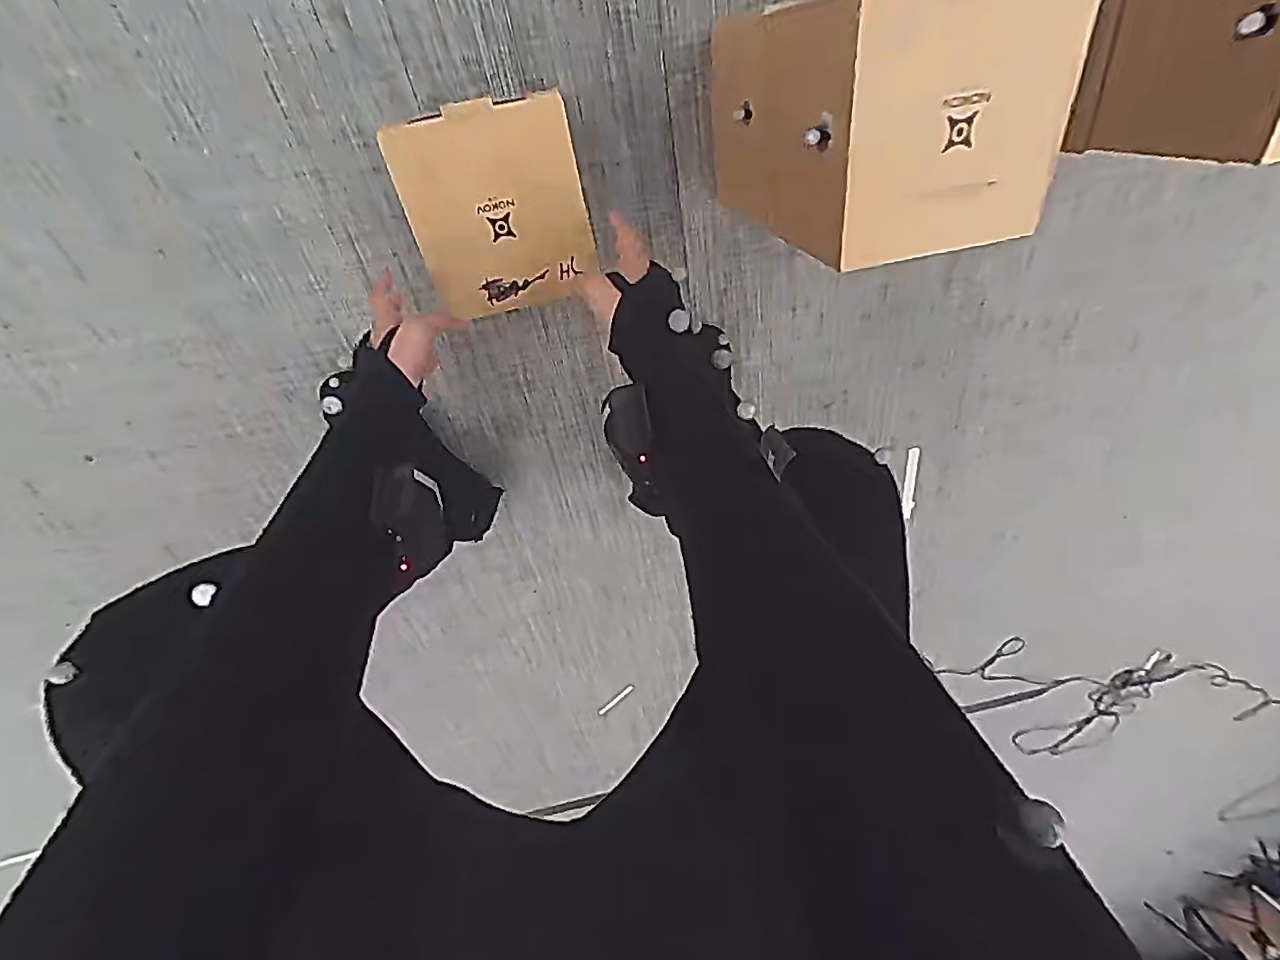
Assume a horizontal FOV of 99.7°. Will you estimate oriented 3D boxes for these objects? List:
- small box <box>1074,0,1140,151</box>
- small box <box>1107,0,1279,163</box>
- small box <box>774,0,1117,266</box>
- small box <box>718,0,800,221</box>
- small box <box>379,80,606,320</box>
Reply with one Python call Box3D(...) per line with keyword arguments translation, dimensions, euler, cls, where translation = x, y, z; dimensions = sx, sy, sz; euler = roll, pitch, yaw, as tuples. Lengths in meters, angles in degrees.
Box3D(translation=(0.513, -0.472, 0.574), dimensions=(0.168, 0.176, 0.179), euler=(-15, 125, -2), cls="small box")
Box3D(translation=(0.544, -0.382, 0.442), dimensions=(0.168, 0.176, 0.179), euler=(-15, 125, -2), cls="small box")
Box3D(translation=(0.214, -0.291, 0.431), dimensions=(0.168, 0.176, 0.179), euler=(-12, 126, -3), cls="small box")
Box3D(translation=(0.183, -0.388, 0.560), dimensions=(0.168, 0.176, 0.179), euler=(-12, 127, -4), cls="small box")
Box3D(translation=(-0.140, -0.290, 0.562), dimensions=(0.168, 0.176, 0.179), euler=(-13, 125, -2), cls="small box")
